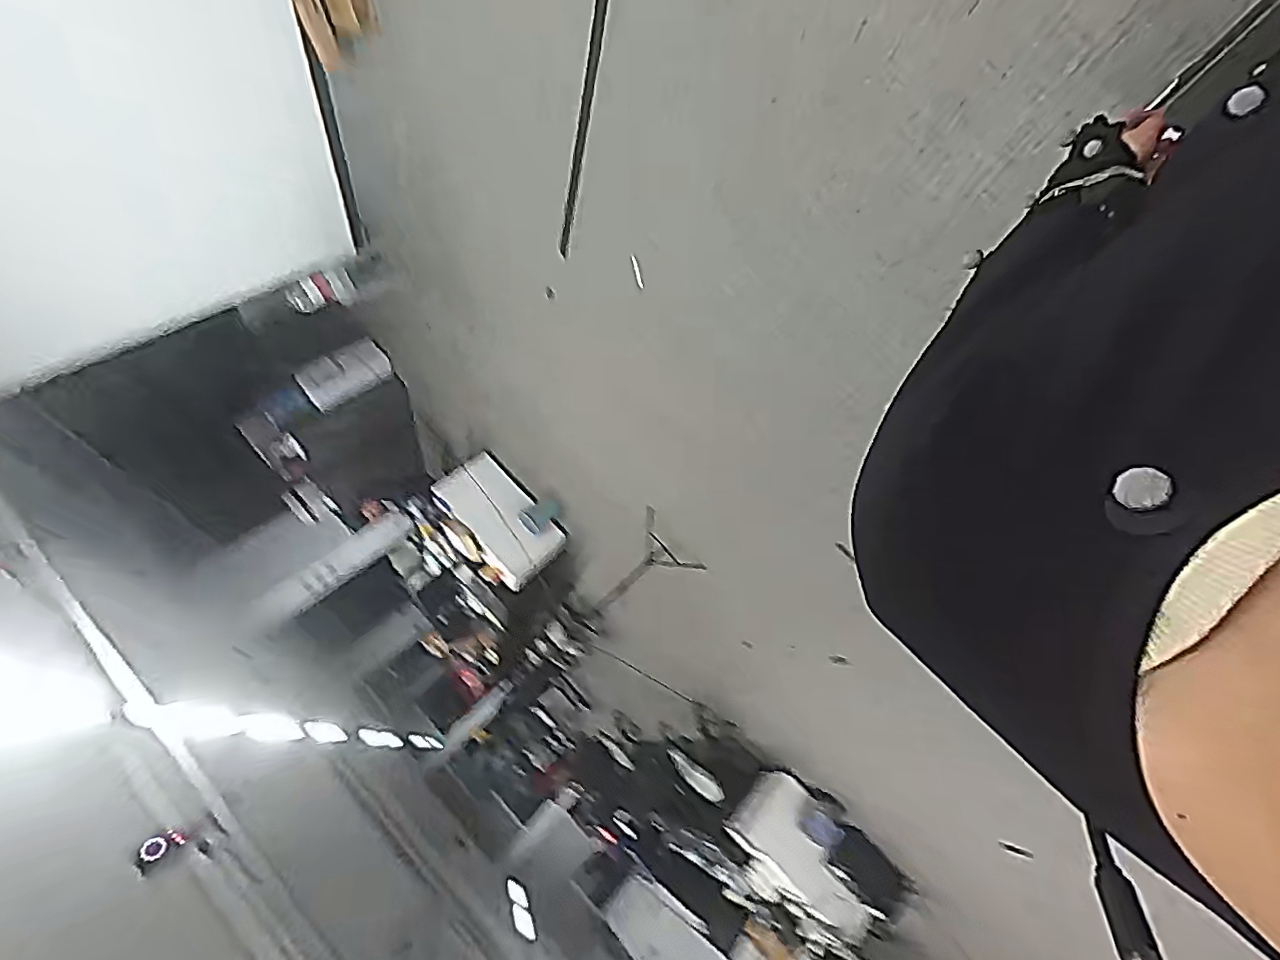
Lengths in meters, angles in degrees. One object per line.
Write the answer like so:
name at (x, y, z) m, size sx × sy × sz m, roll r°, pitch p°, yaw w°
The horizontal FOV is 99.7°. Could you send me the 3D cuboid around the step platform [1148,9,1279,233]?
step platform at (1.101, -0.666, 0.678) m, size 0.286 × 0.204 × 0.684 m, roll 48°, pitch 150°, yaw 5°
